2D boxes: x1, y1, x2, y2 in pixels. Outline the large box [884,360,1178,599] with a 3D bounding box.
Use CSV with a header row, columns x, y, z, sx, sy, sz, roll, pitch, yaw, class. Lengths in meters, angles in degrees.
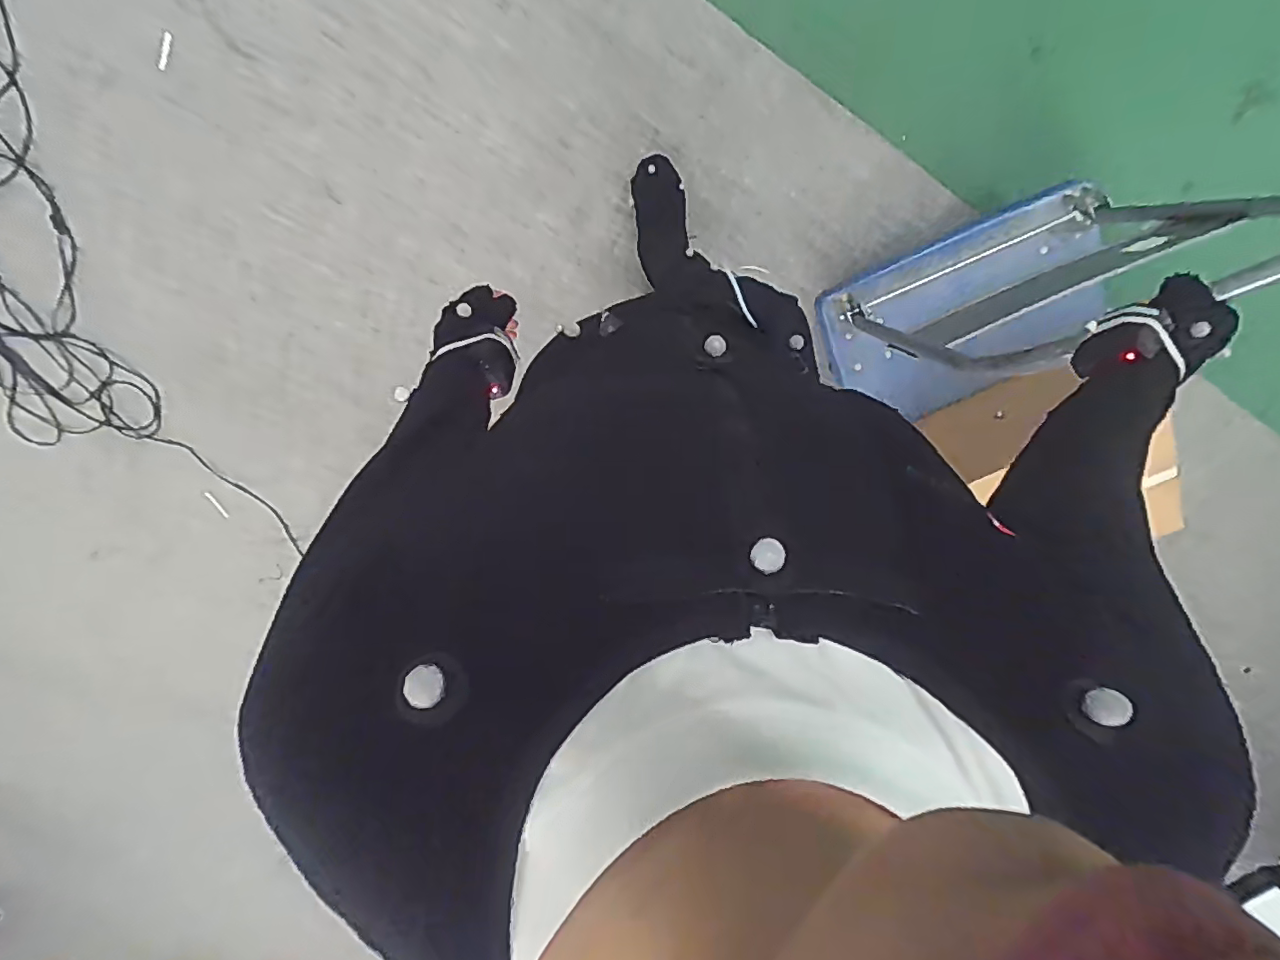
x,y,z,sx,sy,sz,roll,pitch,yaw,class
0.839,-0.012,1.205,0.408,0.320,0.320,-26,114,11,large box
